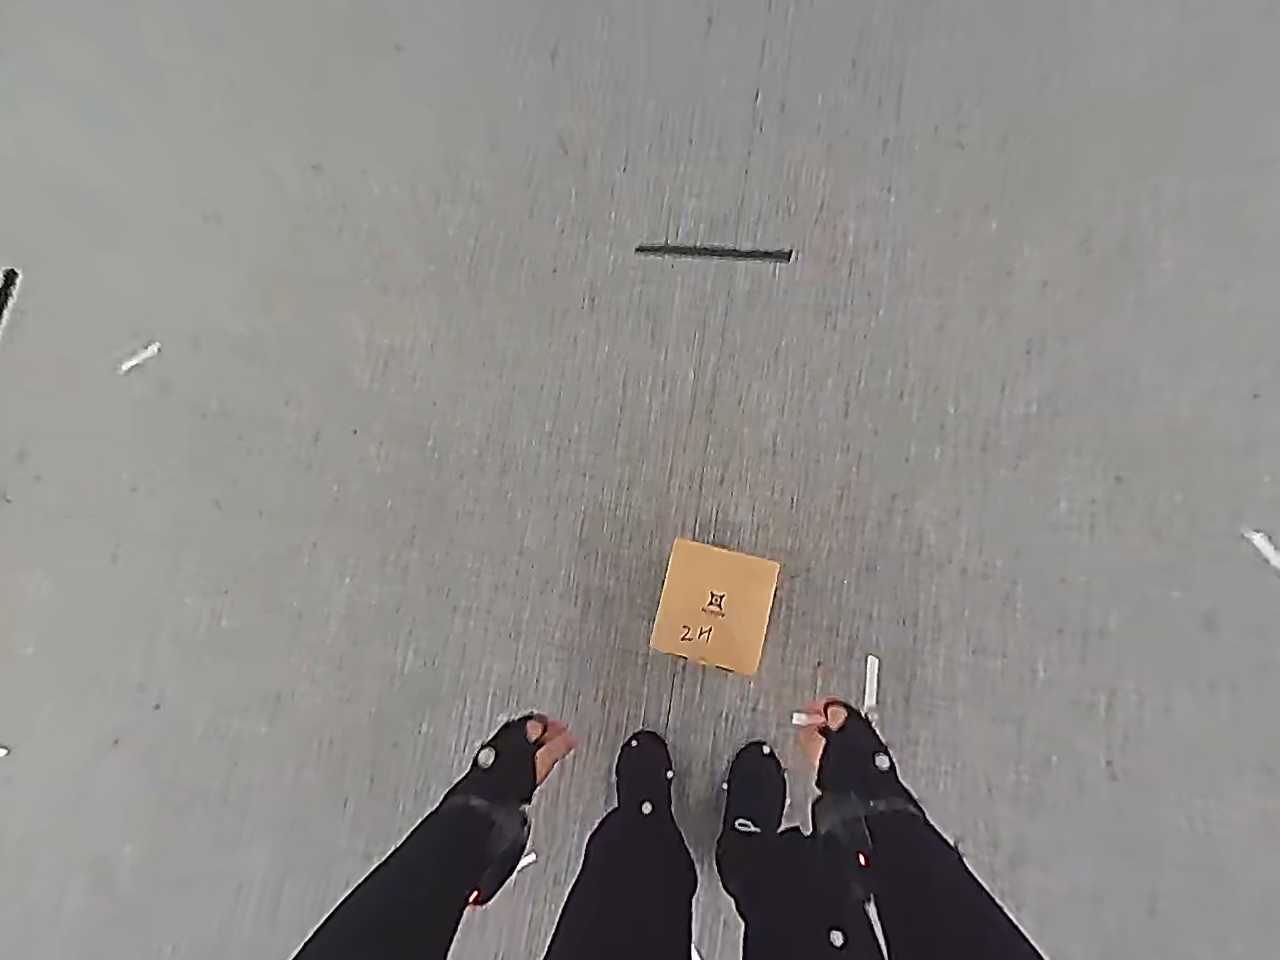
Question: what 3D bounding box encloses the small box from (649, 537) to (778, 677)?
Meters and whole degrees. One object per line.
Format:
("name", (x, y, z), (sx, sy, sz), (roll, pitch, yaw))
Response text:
("small box", (0.122, 0.202, 0.895), (0.168, 0.176, 0.179), (12, 83, 11))
